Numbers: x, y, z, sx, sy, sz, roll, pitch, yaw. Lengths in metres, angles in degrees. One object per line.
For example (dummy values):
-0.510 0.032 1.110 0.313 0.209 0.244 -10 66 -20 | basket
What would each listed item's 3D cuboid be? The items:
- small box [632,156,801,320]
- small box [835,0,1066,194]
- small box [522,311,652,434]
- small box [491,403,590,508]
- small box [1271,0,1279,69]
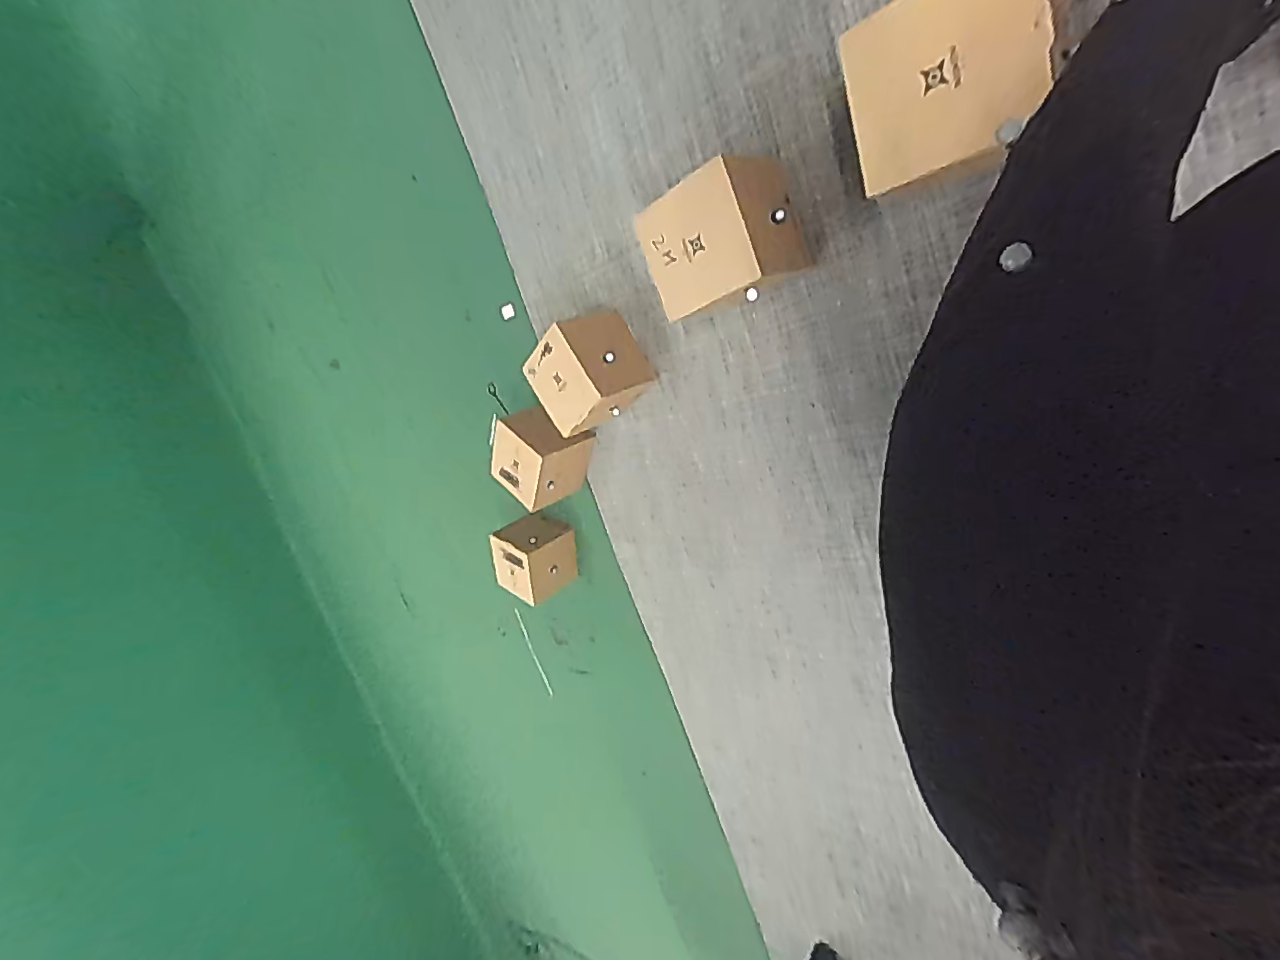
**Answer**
0.125 -0.365 0.826 0.179 0.176 0.168 -13 101 45 | small box
0.342 -0.430 0.592 0.179 0.176 0.168 -5 108 43 | small box
-0.106 -0.226 1.120 0.168 0.176 0.179 -36 85 47 | small box
-0.244 -0.068 1.333 0.168 0.176 0.179 39 132 23 | small box
0.583 -0.419 0.371 0.179 0.176 0.168 3 114 42 | small box
